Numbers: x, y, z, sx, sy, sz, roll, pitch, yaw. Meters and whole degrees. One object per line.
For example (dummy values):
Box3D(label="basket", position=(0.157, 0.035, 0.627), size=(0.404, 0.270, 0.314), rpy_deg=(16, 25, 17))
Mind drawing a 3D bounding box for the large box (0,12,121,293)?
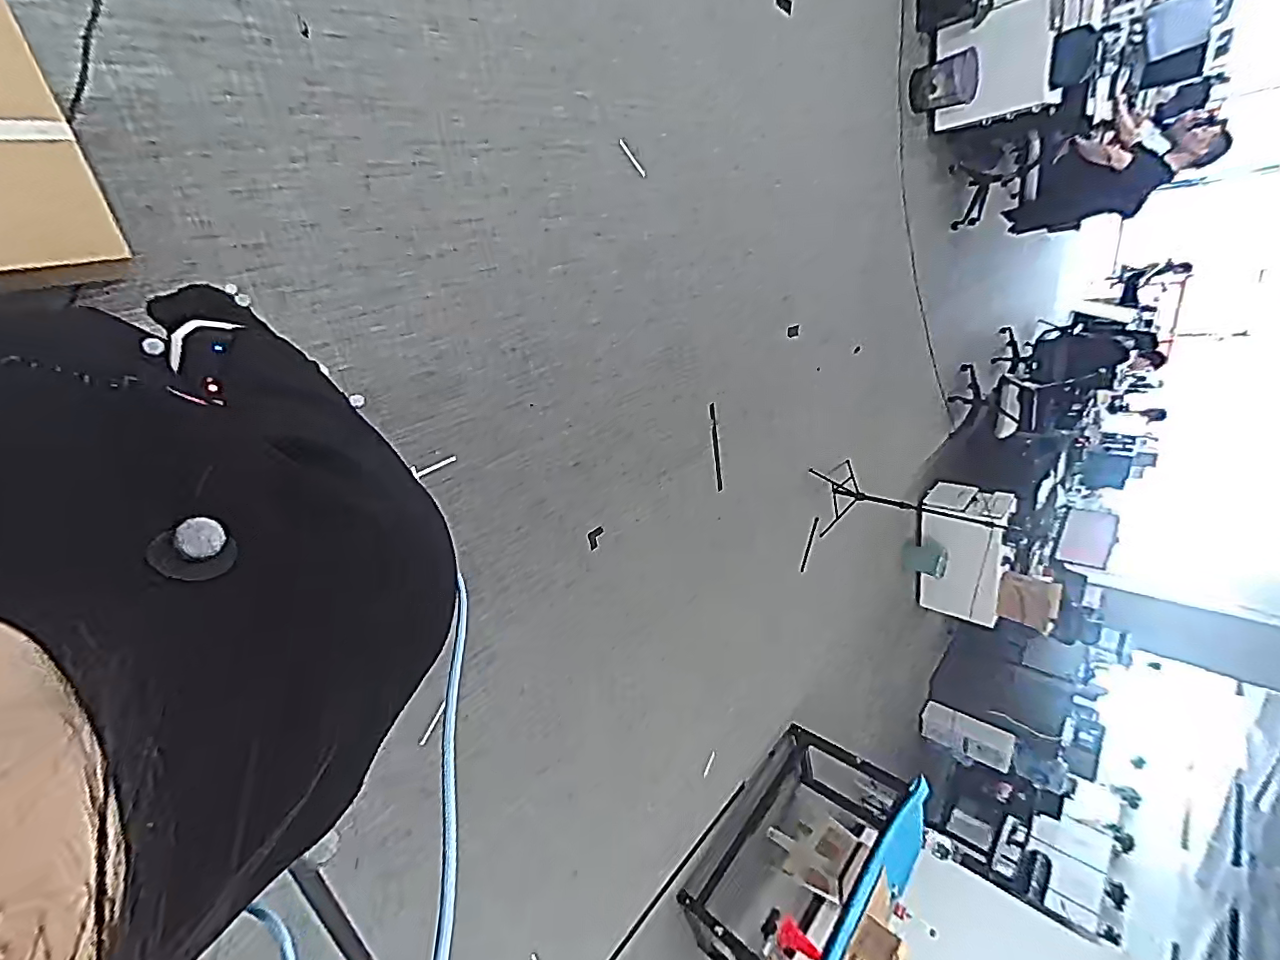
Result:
Box3D(label="large box", position=(-1.008, -0.403, 0.698), size=(0.408, 0.320, 0.320), rpy_deg=(-29, 120, -38))
